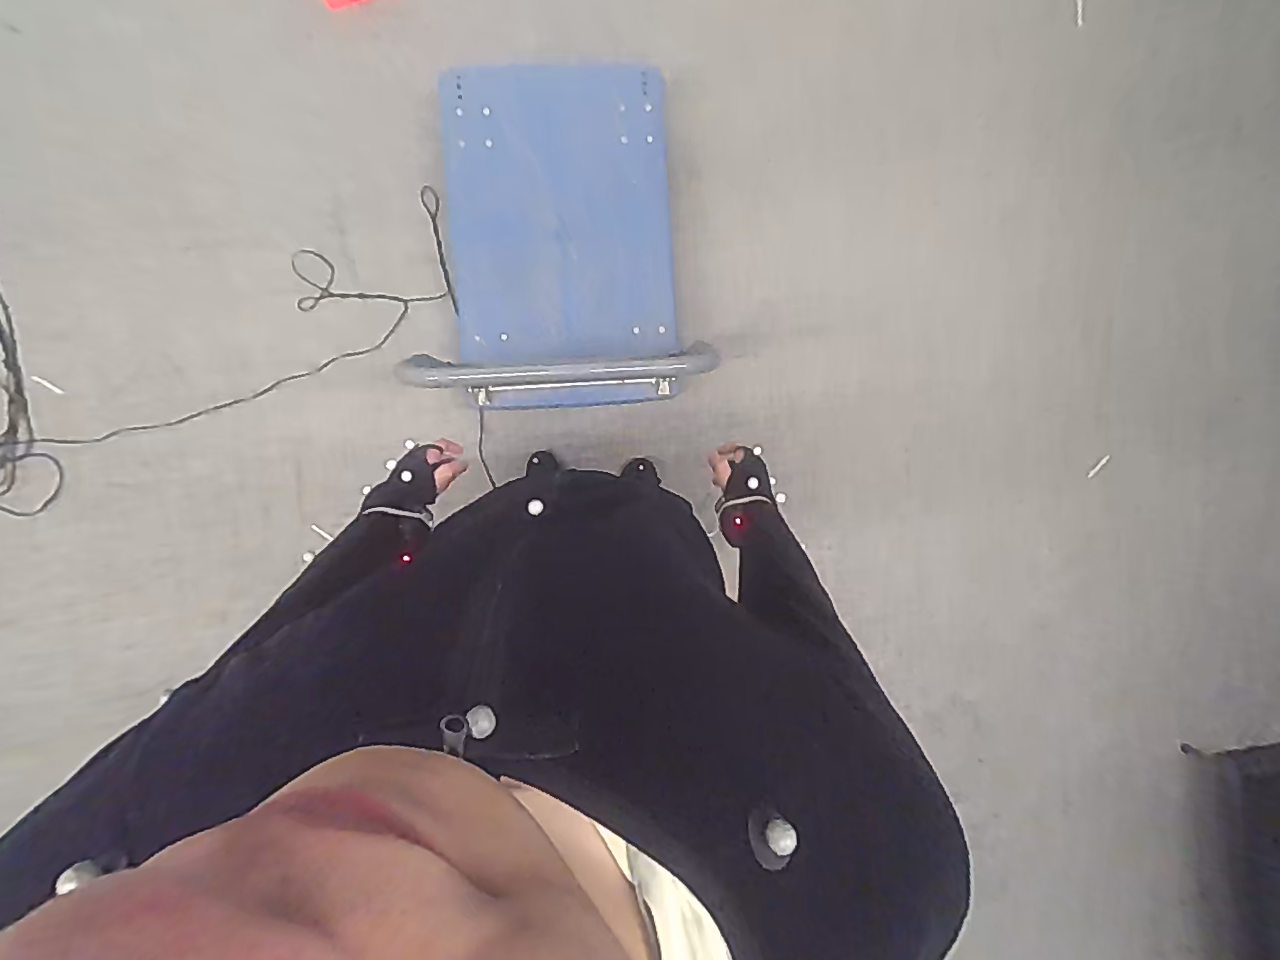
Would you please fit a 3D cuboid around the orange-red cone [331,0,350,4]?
[{"bbox_3d":[-0.798,-1.438,1.336,0.199,0.360,0.198,-21,93,-1],"label":"orange-red cone"}]
